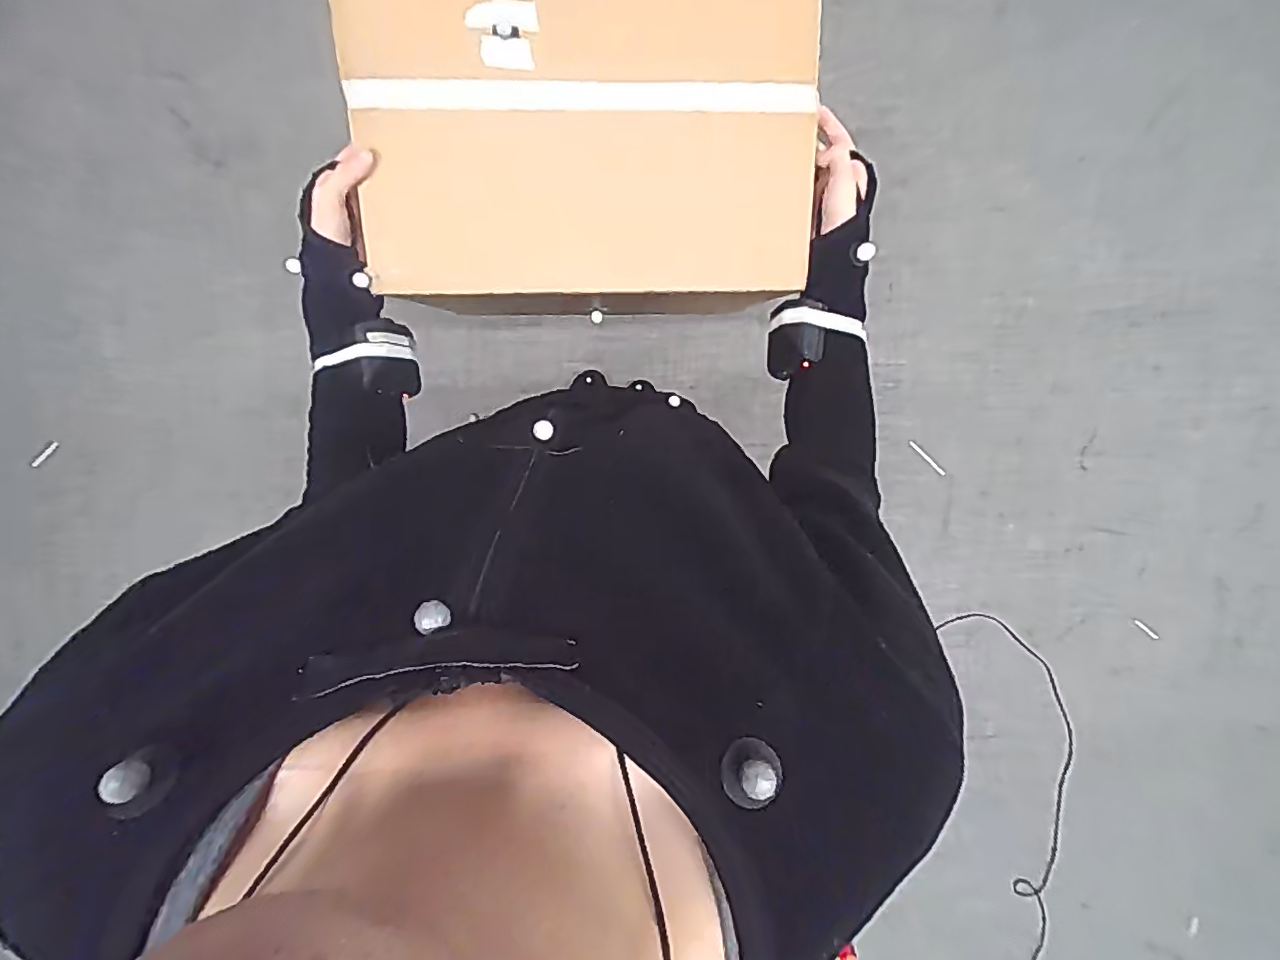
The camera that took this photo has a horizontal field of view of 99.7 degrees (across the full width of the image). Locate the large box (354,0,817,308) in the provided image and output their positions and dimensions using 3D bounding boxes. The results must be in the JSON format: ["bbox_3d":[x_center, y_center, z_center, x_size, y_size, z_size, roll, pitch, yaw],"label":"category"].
[{"bbox_3d":[-0.048,-0.370,0.624,0.408,0.320,0.320,-2,103,-3],"label":"large box"}]
